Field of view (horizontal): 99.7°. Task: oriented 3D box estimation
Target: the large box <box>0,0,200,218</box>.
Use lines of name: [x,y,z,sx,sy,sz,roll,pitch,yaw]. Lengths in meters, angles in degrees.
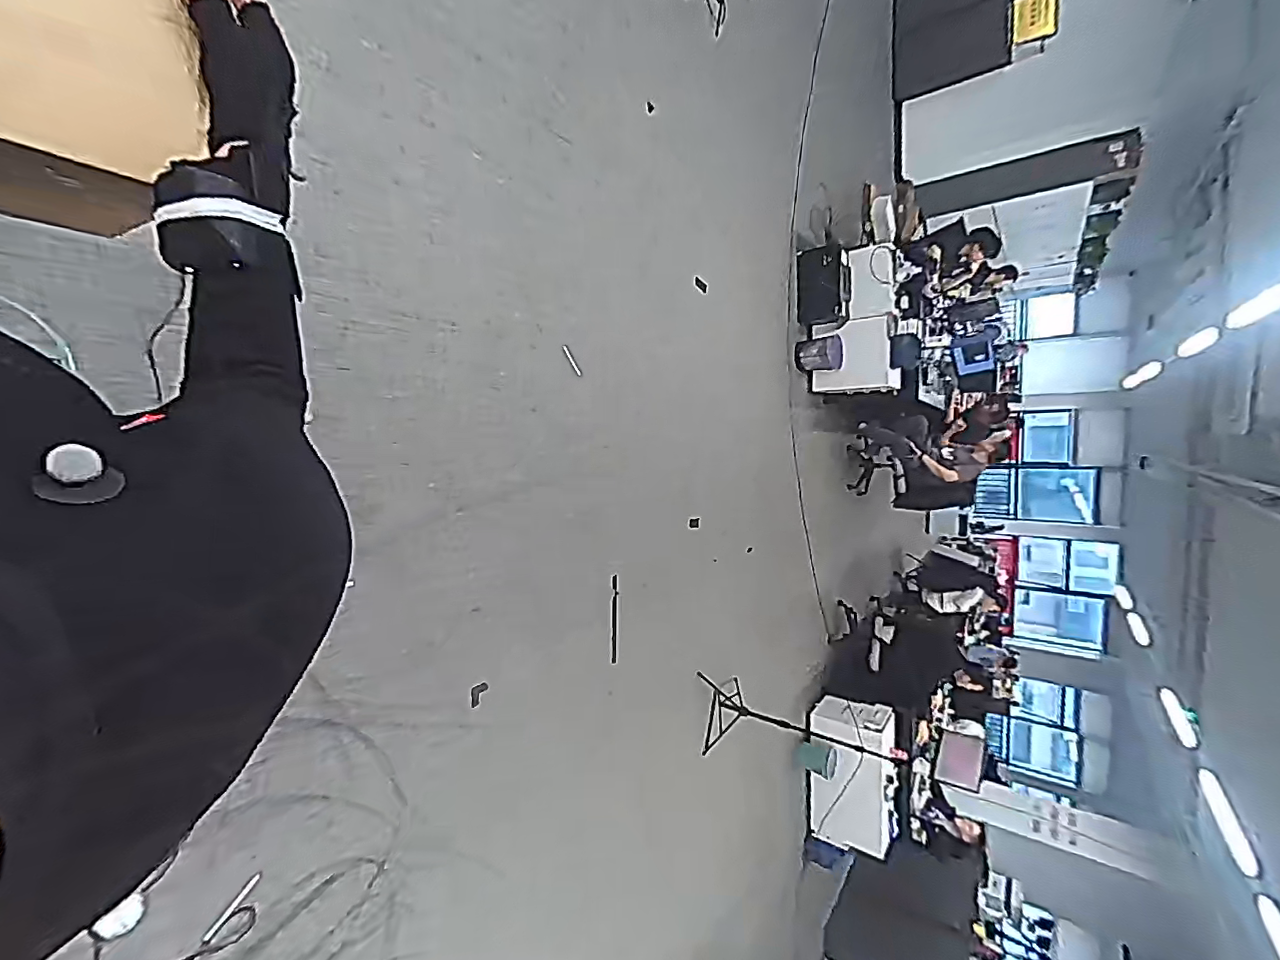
large box: [-0.564,-0.395,0.324,0.408,0.320,0.320,-4,104,-55]
